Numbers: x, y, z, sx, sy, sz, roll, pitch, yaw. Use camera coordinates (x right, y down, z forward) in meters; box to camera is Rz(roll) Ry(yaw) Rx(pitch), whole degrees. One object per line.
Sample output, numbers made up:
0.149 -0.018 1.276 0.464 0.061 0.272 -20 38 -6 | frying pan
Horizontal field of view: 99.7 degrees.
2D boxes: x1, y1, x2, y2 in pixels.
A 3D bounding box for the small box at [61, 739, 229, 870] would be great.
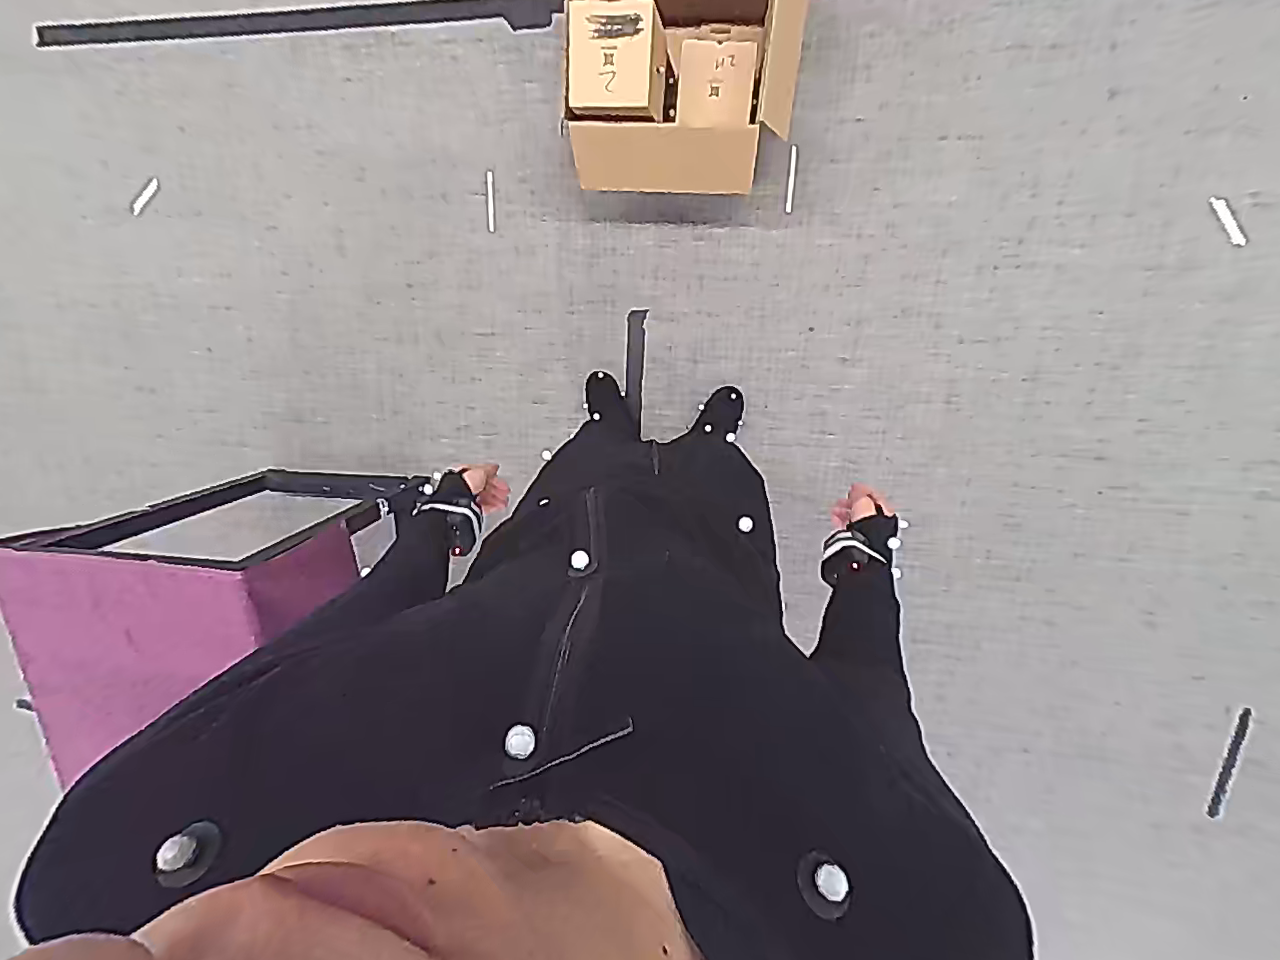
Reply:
-1.018 0.666 1.127 0.179 0.176 0.168 -2 106 8 | small box
